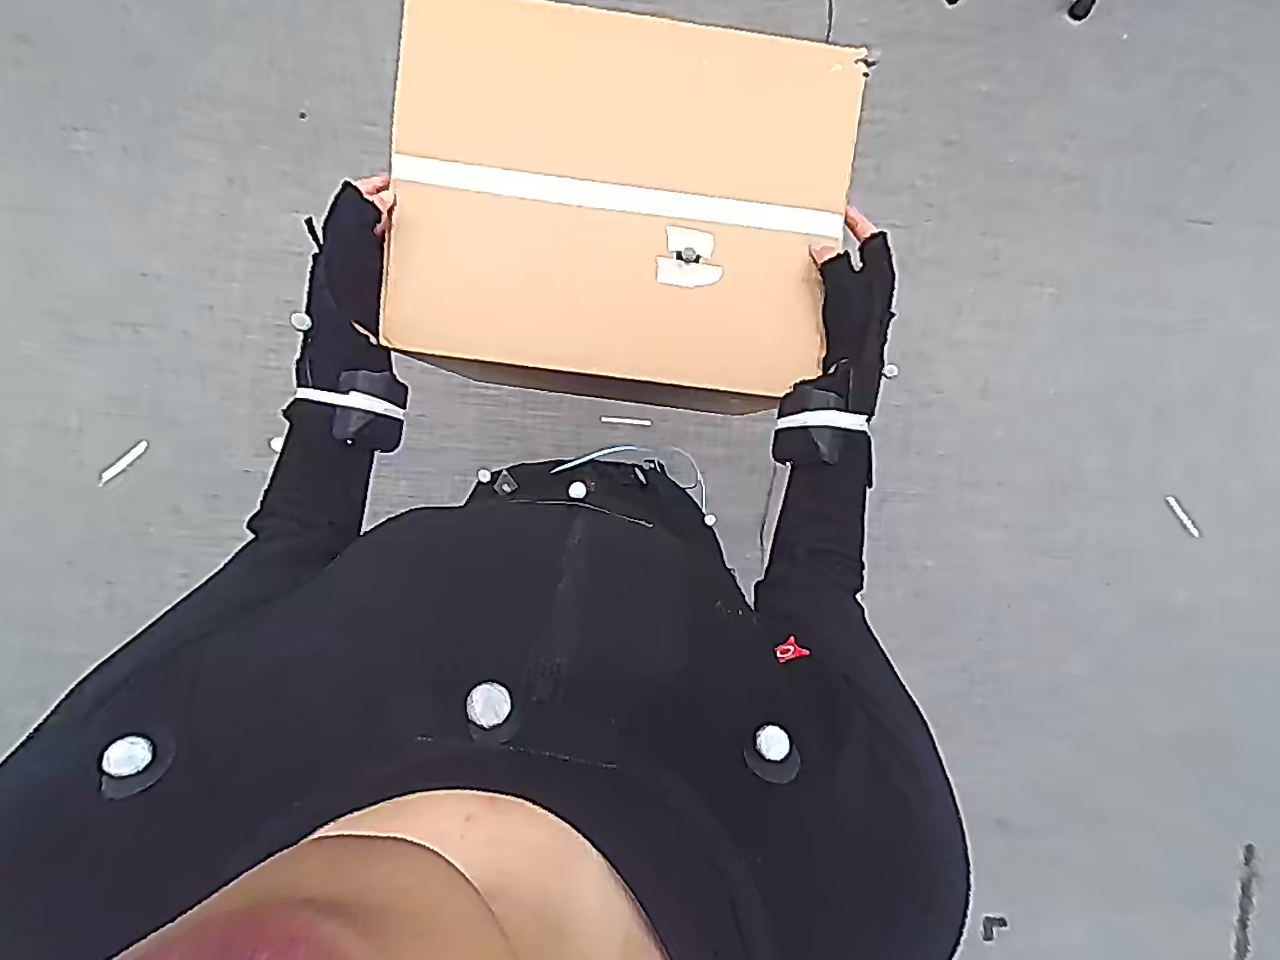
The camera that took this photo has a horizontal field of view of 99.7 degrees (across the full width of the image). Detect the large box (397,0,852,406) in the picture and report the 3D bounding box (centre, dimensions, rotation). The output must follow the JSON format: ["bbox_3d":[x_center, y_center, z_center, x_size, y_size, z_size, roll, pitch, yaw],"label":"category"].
[{"bbox_3d":[-0.022,-0.270,0.649,0.408,0.320,0.320,7,95,-3],"label":"large box"}]
